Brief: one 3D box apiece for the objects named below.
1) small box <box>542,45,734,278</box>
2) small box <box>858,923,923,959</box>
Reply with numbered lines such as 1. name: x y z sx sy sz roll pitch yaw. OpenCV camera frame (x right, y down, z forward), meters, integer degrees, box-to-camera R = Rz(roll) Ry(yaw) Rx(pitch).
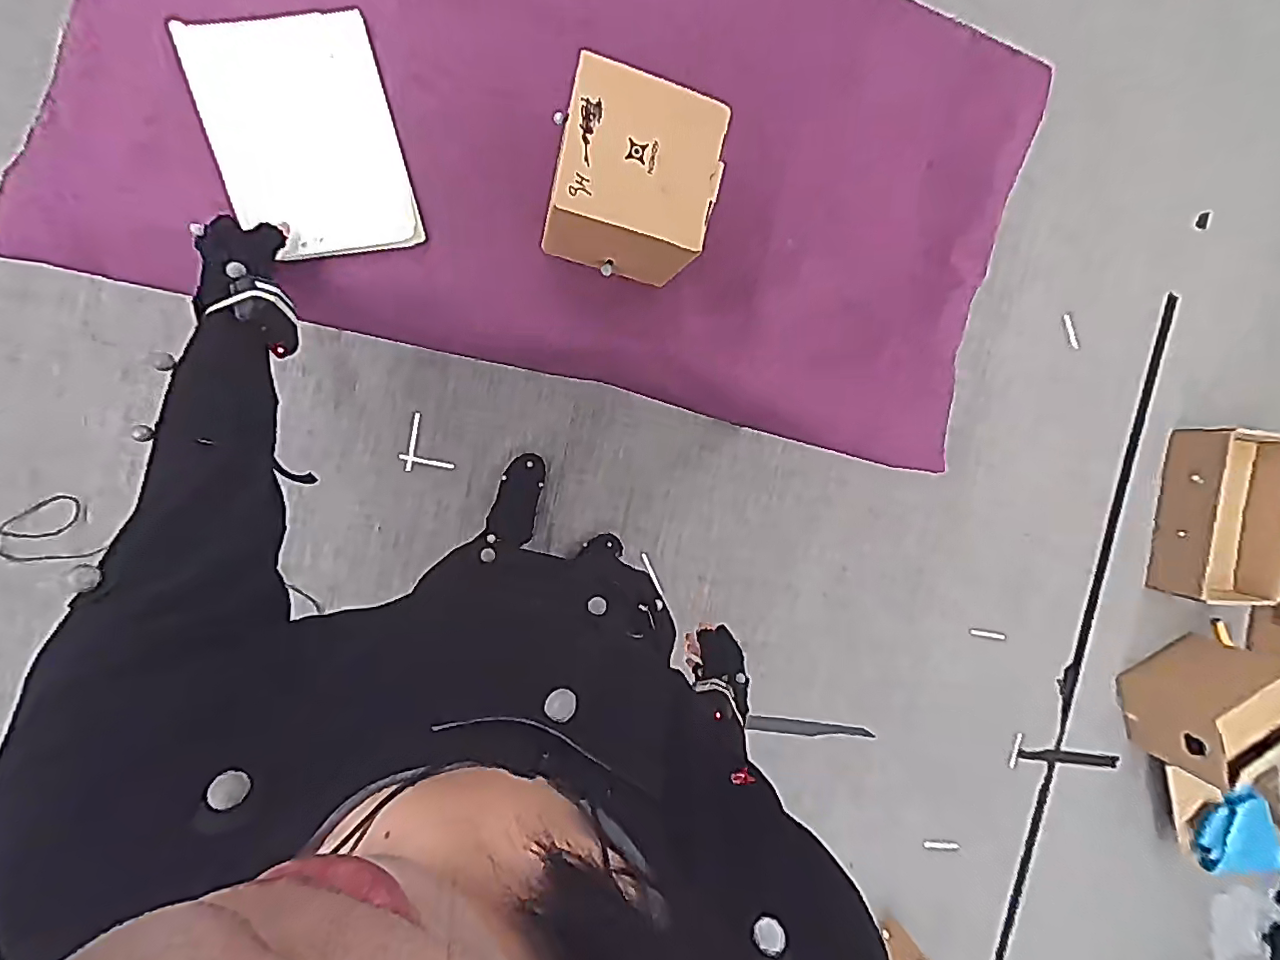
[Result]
1. small box: -0.014 -0.363 0.661 0.179 0.176 0.168 11 93 -16
2. small box: 0.876 1.692 1.857 0.168 0.176 0.179 -11 97 -13
